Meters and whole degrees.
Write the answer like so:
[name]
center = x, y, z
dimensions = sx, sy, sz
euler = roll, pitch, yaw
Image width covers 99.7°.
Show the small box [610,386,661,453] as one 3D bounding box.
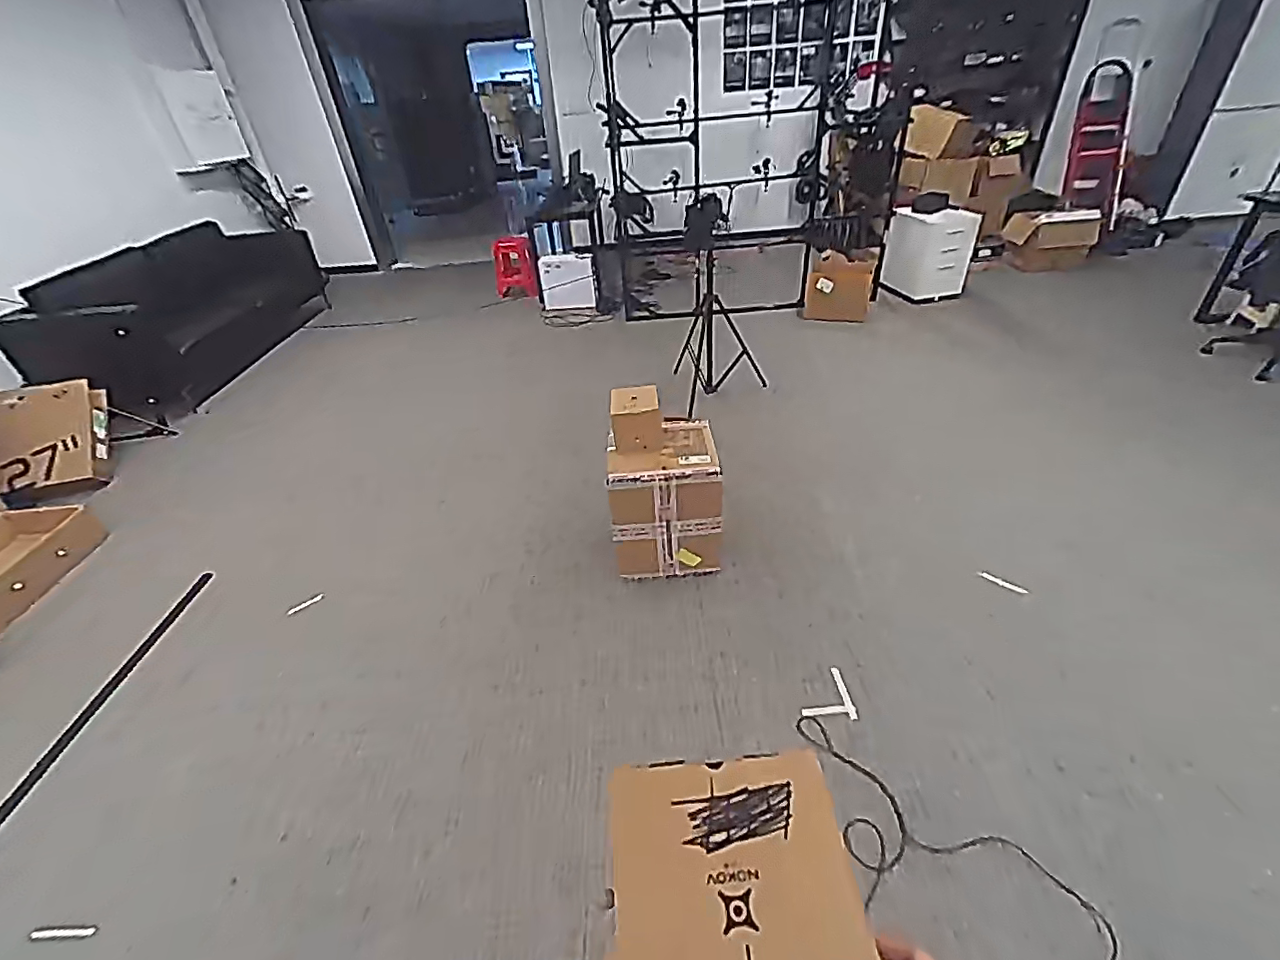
[small box]
center = -0.013, -0.216, 1.929
dimensions = 0.168, 0.176, 0.179
euler = -6, 39, 2
